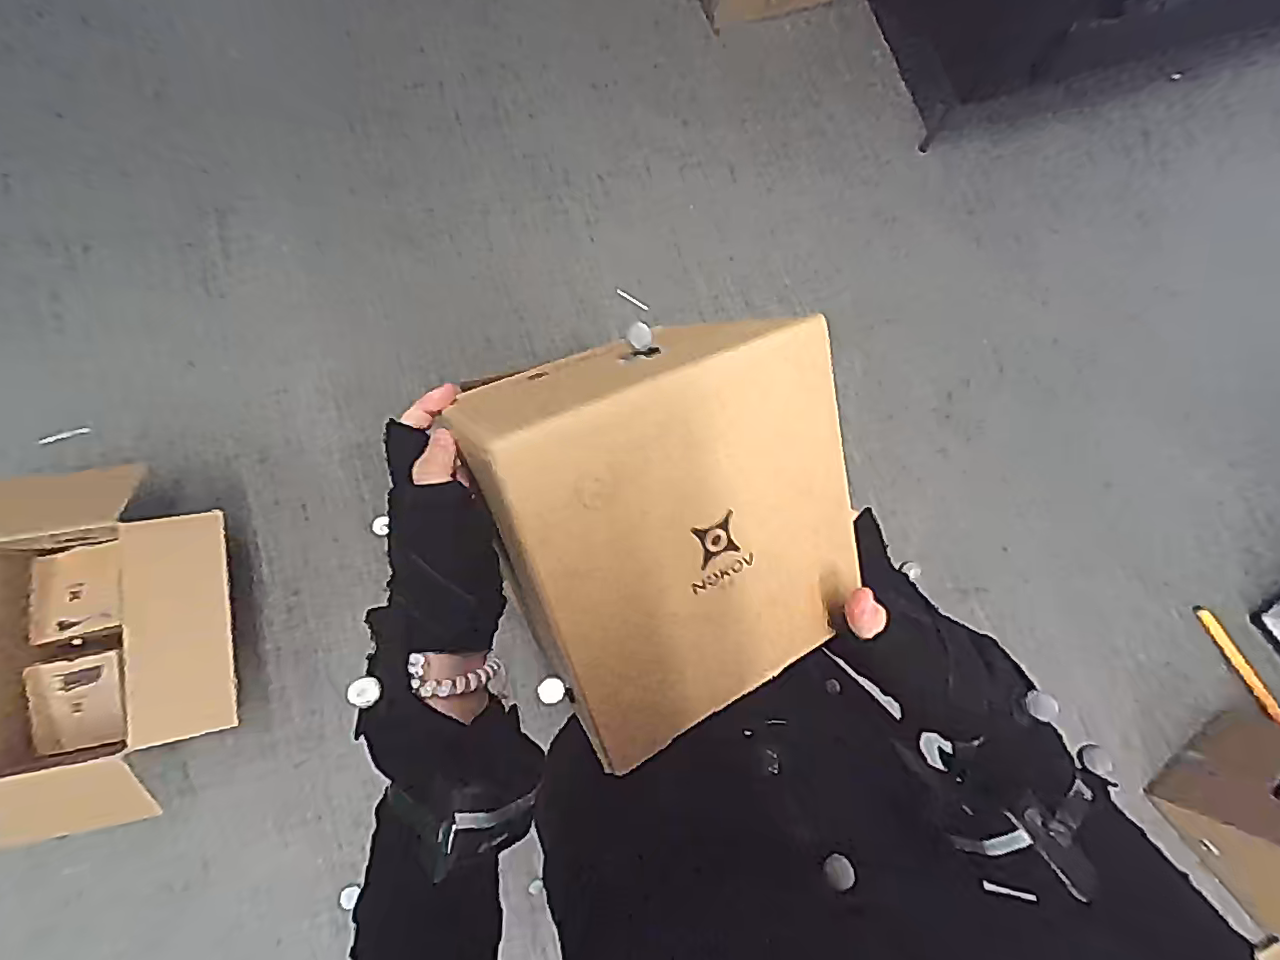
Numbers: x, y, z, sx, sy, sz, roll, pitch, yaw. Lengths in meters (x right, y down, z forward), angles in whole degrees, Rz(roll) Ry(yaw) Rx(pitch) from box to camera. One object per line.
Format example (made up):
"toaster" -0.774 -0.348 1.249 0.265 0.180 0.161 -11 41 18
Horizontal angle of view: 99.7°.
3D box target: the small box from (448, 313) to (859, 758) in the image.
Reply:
"small box" 0.002 0.009 0.324 0.168 0.176 0.179 -24 115 -22
